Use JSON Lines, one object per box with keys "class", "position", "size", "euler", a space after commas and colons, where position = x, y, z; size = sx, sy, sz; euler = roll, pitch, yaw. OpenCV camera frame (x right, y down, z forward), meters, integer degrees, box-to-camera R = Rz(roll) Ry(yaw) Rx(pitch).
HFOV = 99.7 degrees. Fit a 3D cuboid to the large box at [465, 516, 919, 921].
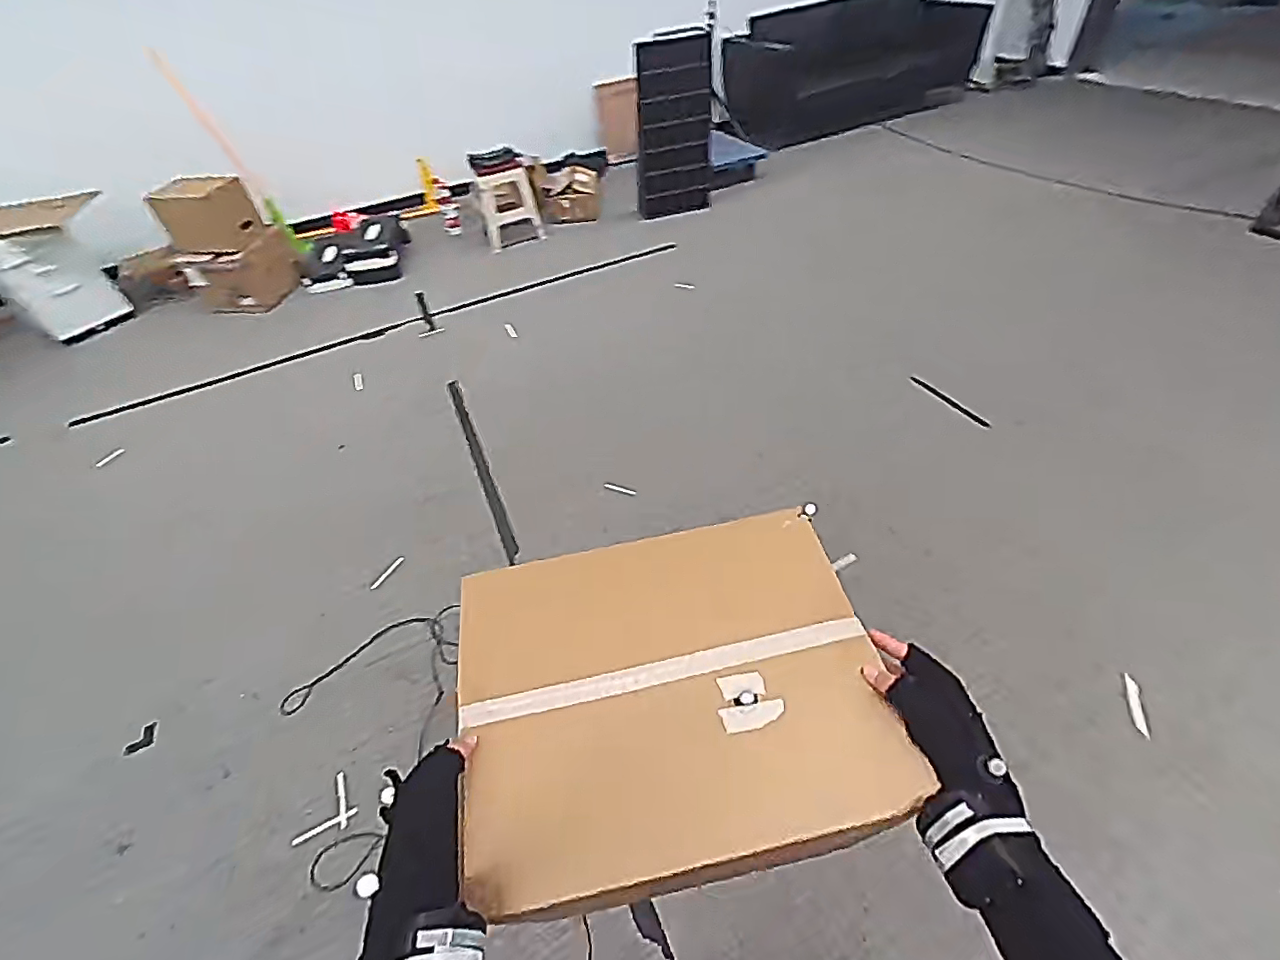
{"class": "large box", "position": [0.030, 0.292, 0.662], "size": [0.408, 0.320, 0.320], "euler": [-11, 51, -5]}
